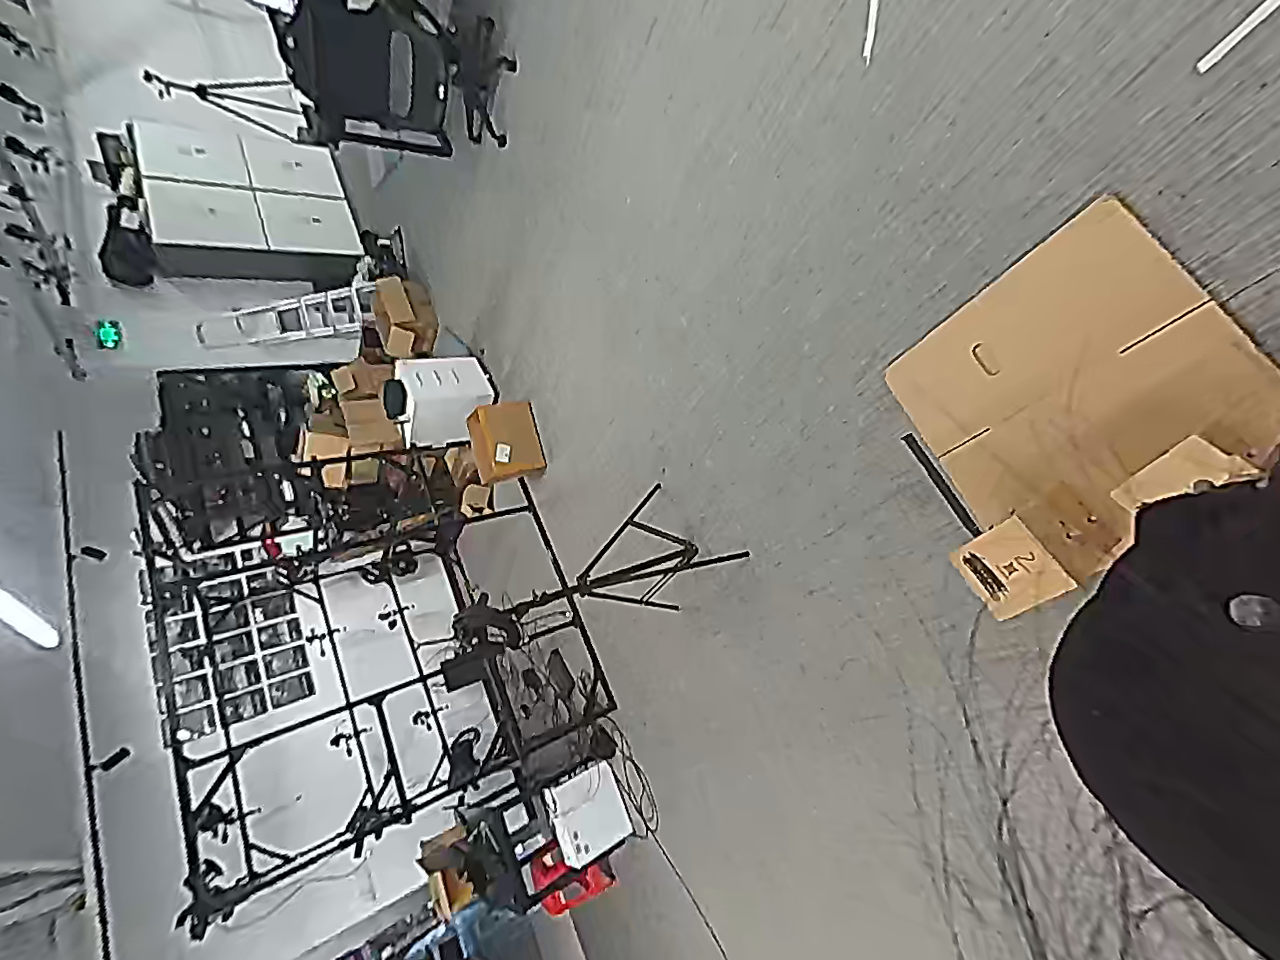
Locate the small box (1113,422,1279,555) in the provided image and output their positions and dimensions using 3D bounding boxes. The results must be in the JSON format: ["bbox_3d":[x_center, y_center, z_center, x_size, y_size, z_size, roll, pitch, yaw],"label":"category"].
[{"bbox_3d":[1.060,0.009,1.018,0.168,0.176,0.179,55,139,28],"label":"small box"}]

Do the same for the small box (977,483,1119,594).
[{"bbox_3d":[0.933,0.130,1.237,0.168,0.176,0.179,57,140,24],"label":"small box"}]
